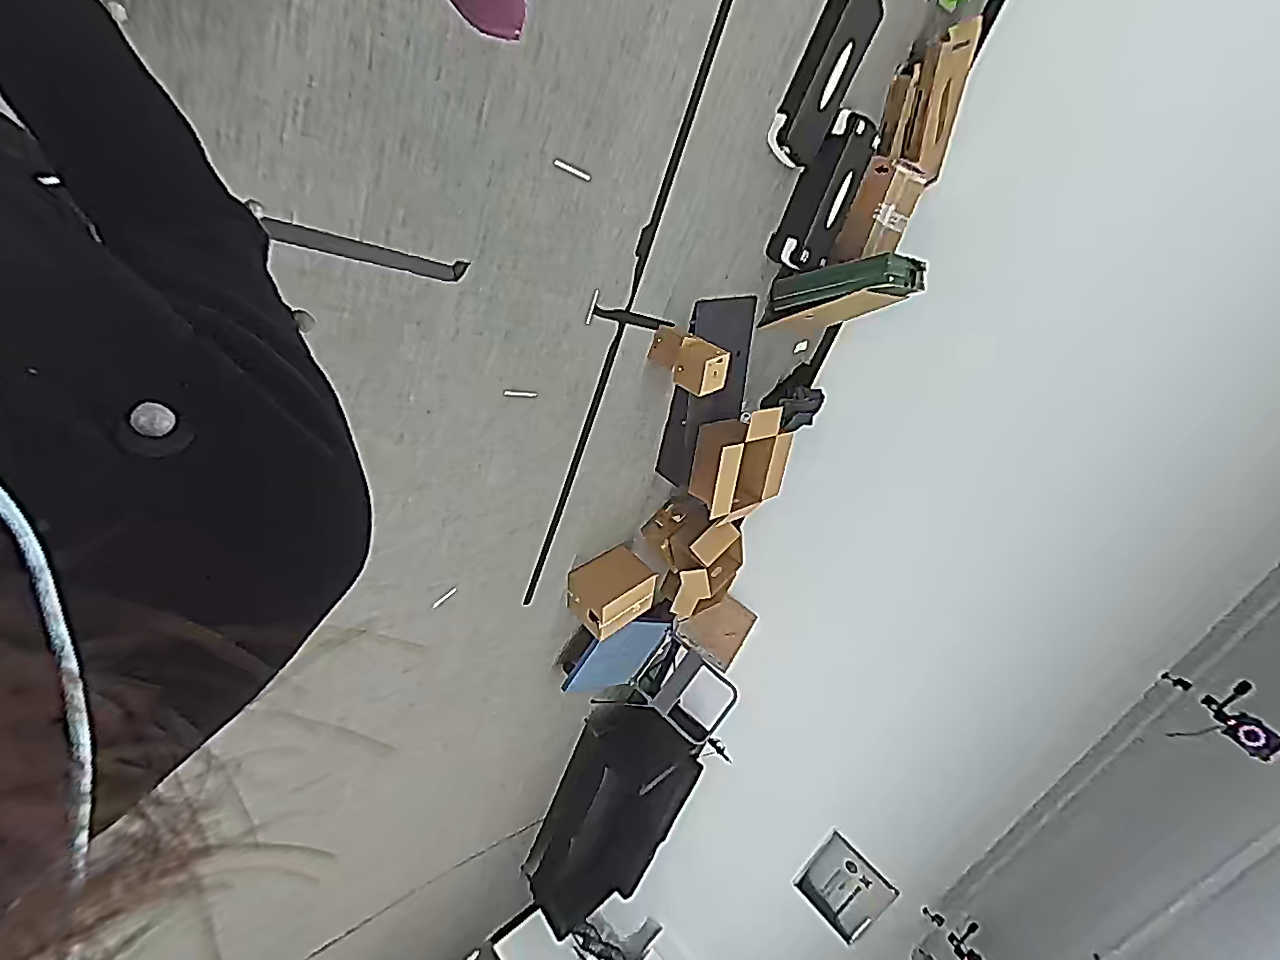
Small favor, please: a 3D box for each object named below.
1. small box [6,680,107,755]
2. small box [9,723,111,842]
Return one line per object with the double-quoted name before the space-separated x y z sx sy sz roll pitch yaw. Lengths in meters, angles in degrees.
"small box" -1.624 0.696 1.505 0.179 0.176 0.168 -10 128 -49
"small box" -1.516 0.782 1.416 0.168 0.176 0.179 -9 127 -49
